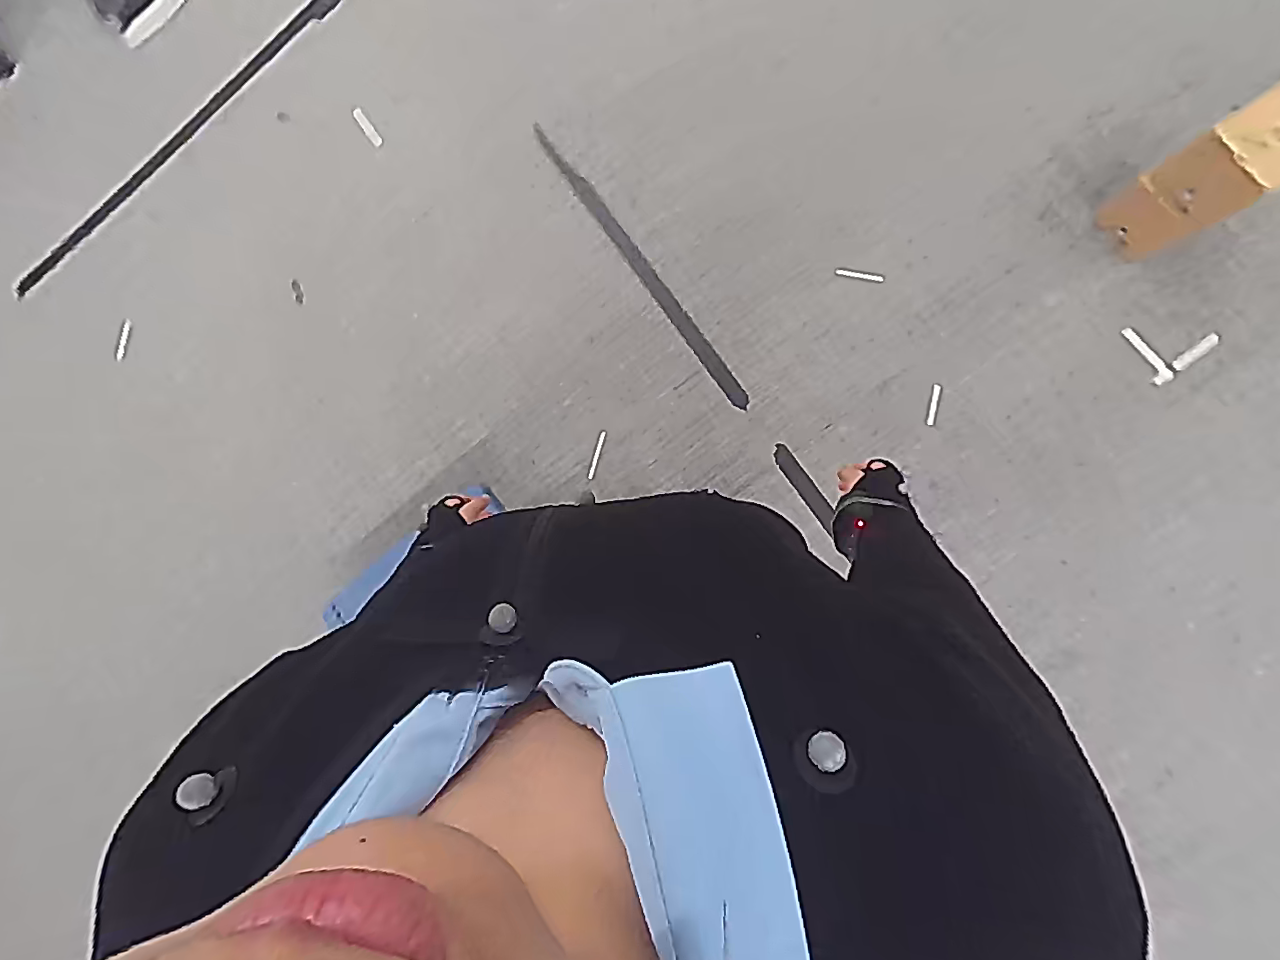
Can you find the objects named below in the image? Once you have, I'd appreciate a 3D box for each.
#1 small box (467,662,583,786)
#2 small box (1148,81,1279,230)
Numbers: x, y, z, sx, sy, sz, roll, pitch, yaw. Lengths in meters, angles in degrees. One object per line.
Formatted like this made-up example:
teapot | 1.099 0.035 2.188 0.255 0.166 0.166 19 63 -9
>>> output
small box | -0.261 0.562 1.268 0.179 0.176 0.168 -42 82 5
small box | 1.220 -0.656 1.102 0.179 0.176 0.168 -33 83 7
